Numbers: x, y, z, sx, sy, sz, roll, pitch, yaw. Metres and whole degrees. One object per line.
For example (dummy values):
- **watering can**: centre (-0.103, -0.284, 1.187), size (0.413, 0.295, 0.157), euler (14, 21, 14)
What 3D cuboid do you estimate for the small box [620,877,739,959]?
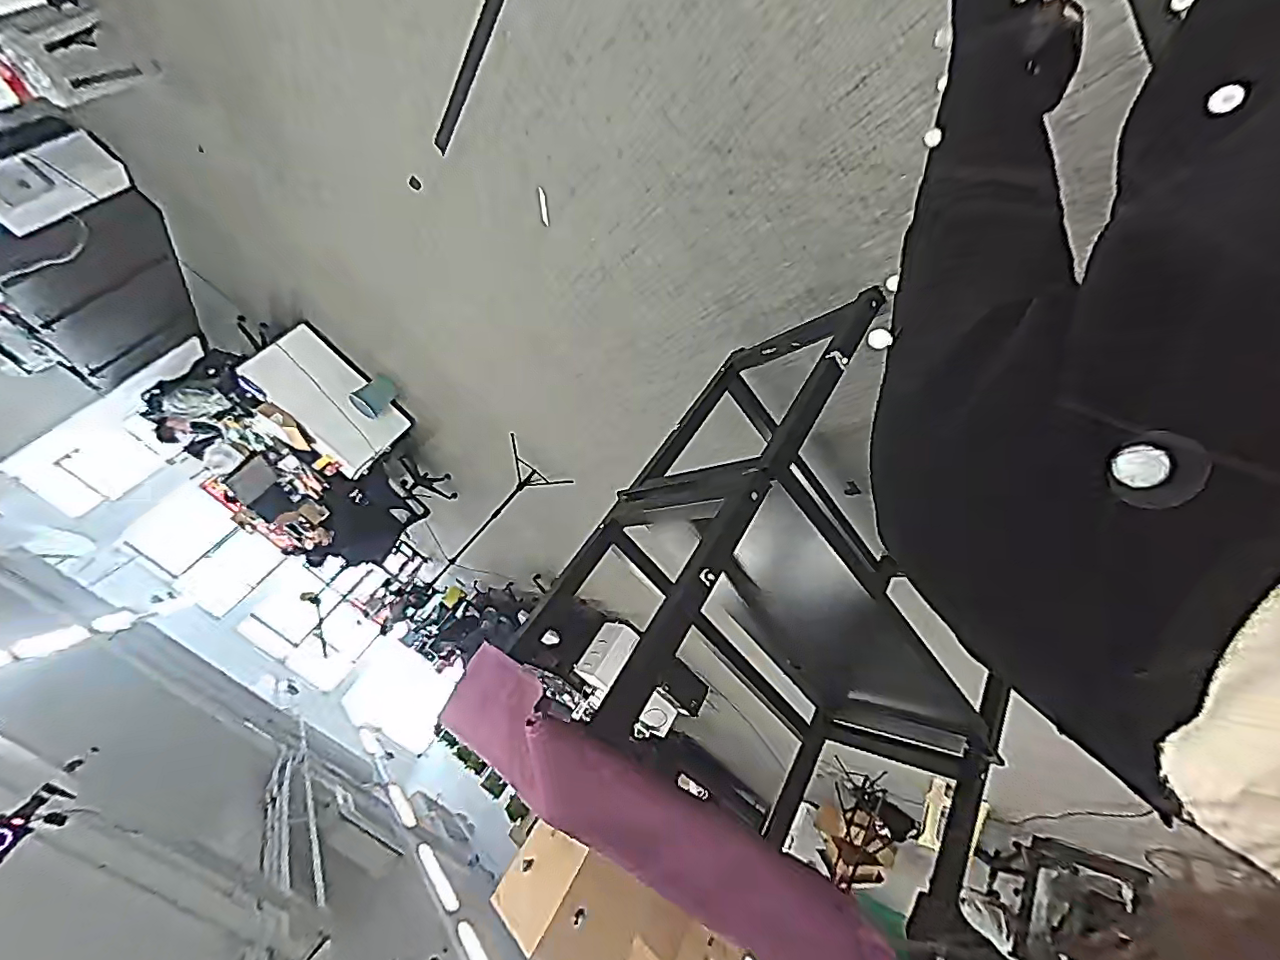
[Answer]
- **small box**: centre (0.053, 0.898, 1.022), size (0.168, 0.176, 0.179), euler (46, 151, -18)

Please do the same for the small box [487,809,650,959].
- **small box**: centre (-0.118, 0.701, 0.916), size (0.179, 0.176, 0.168), euler (47, 152, -22)
